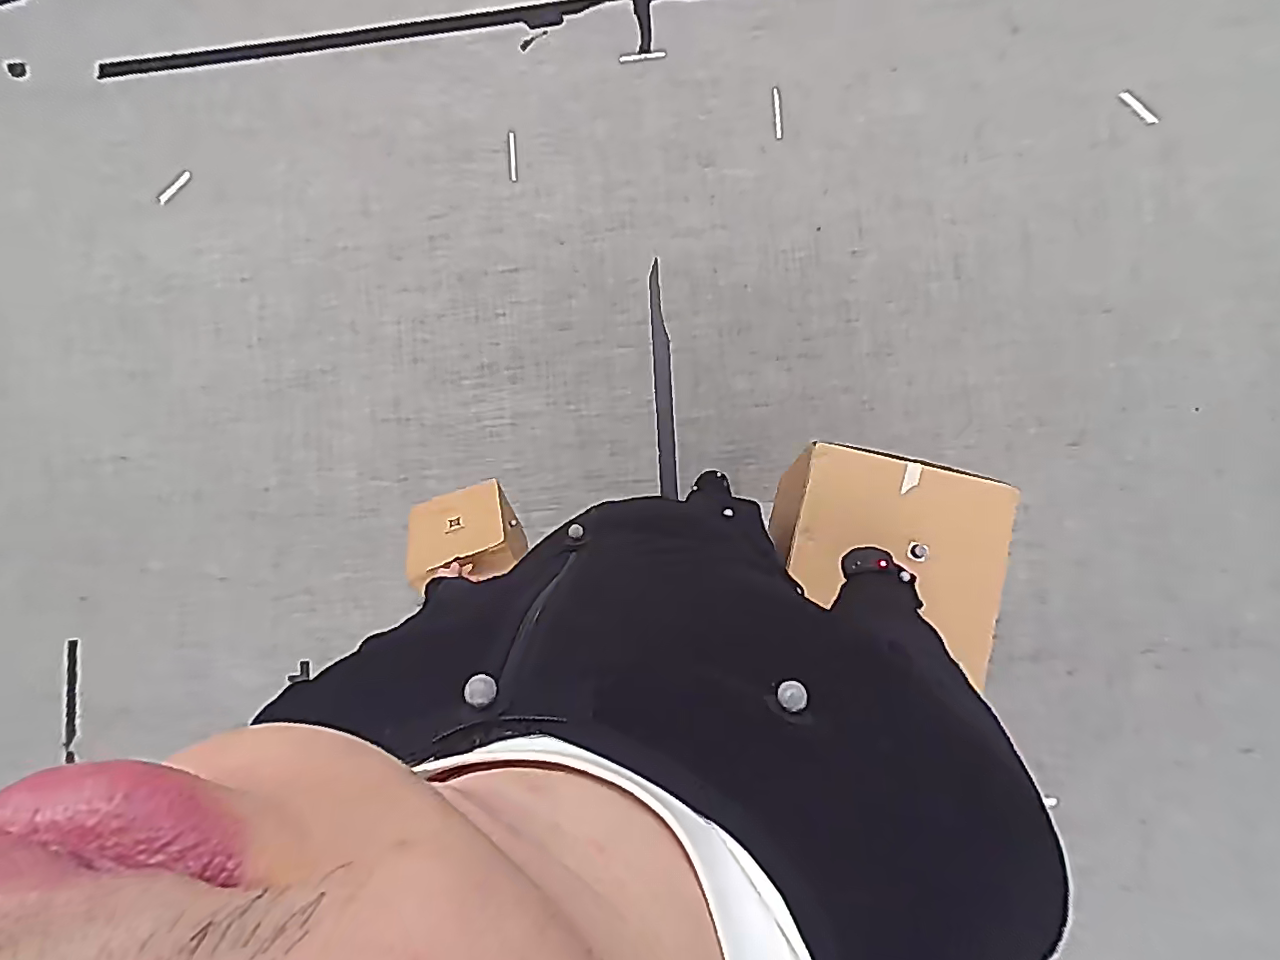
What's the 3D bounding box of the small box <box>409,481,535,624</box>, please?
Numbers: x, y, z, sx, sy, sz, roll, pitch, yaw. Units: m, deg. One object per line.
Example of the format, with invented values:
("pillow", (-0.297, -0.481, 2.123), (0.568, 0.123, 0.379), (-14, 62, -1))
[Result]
("small box", (-0.302, 0.139, 0.989), (0.168, 0.179, 0.176), (-19, 132, -5))
